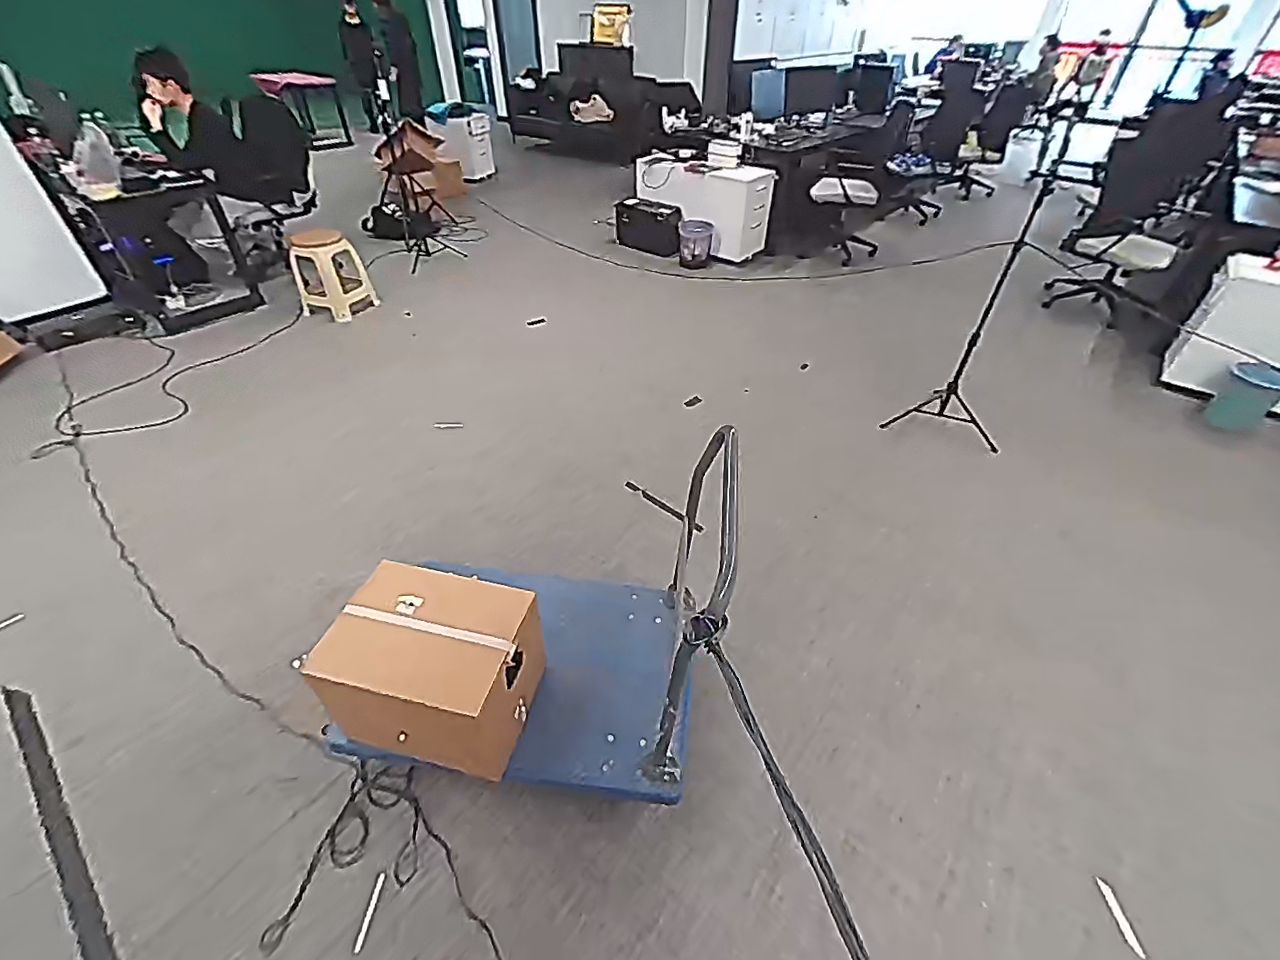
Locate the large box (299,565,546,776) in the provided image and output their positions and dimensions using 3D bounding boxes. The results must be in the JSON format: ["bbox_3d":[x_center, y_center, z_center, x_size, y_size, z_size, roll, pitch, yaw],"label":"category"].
[{"bbox_3d":[-0.470,0.444,1.273,0.408,0.320,0.320,9,40,9],"label":"large box"}]
